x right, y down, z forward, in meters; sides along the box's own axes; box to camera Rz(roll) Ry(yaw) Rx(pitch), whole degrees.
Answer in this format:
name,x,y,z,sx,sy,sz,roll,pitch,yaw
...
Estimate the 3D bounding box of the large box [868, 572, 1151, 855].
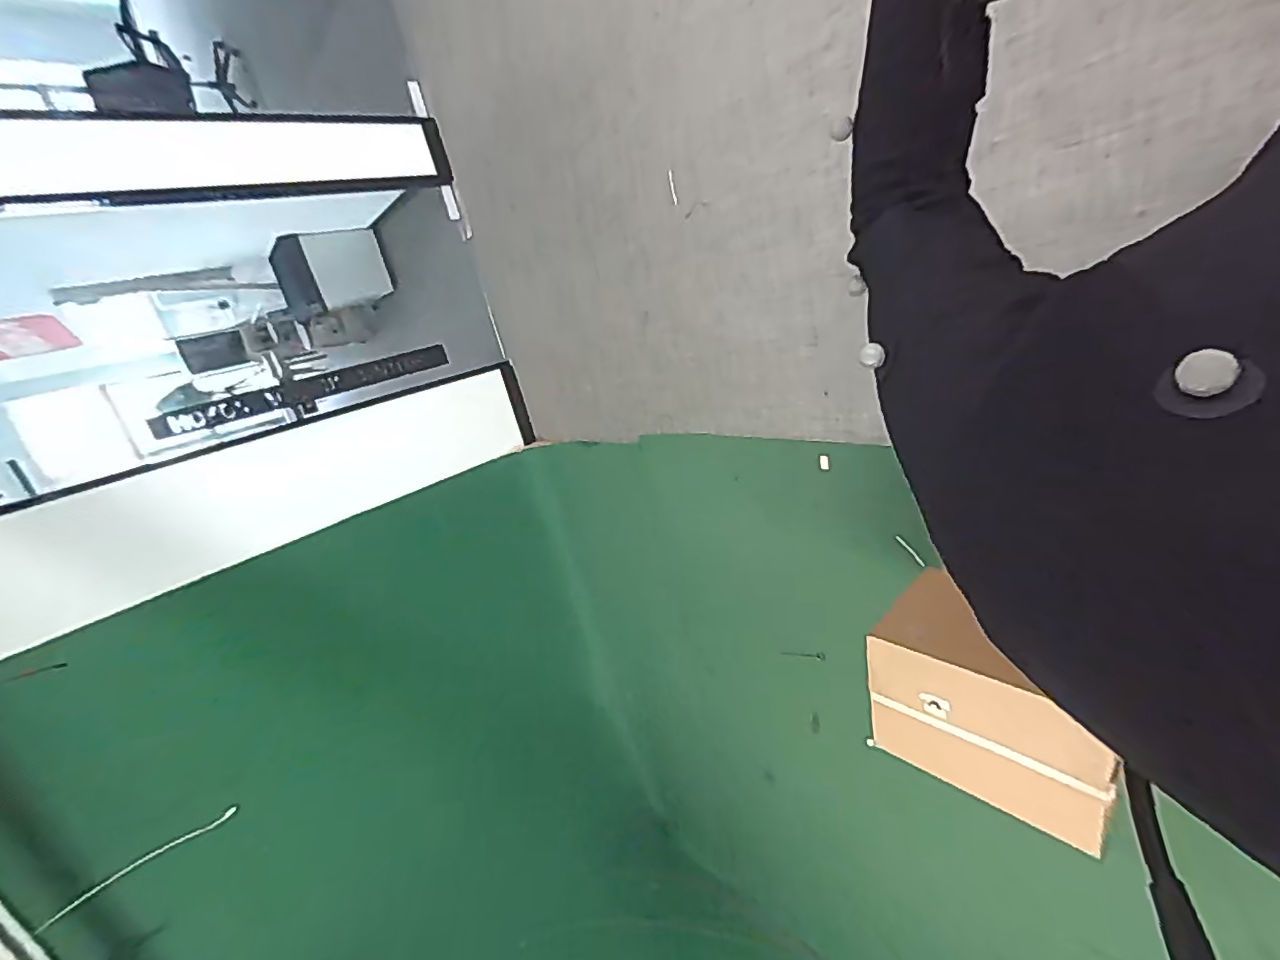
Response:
name,x,y,z,sx,sy,sz,roll,pitch,yaw
large box,0.744,0.432,1.113,0.408,0.320,0.320,12,119,49
